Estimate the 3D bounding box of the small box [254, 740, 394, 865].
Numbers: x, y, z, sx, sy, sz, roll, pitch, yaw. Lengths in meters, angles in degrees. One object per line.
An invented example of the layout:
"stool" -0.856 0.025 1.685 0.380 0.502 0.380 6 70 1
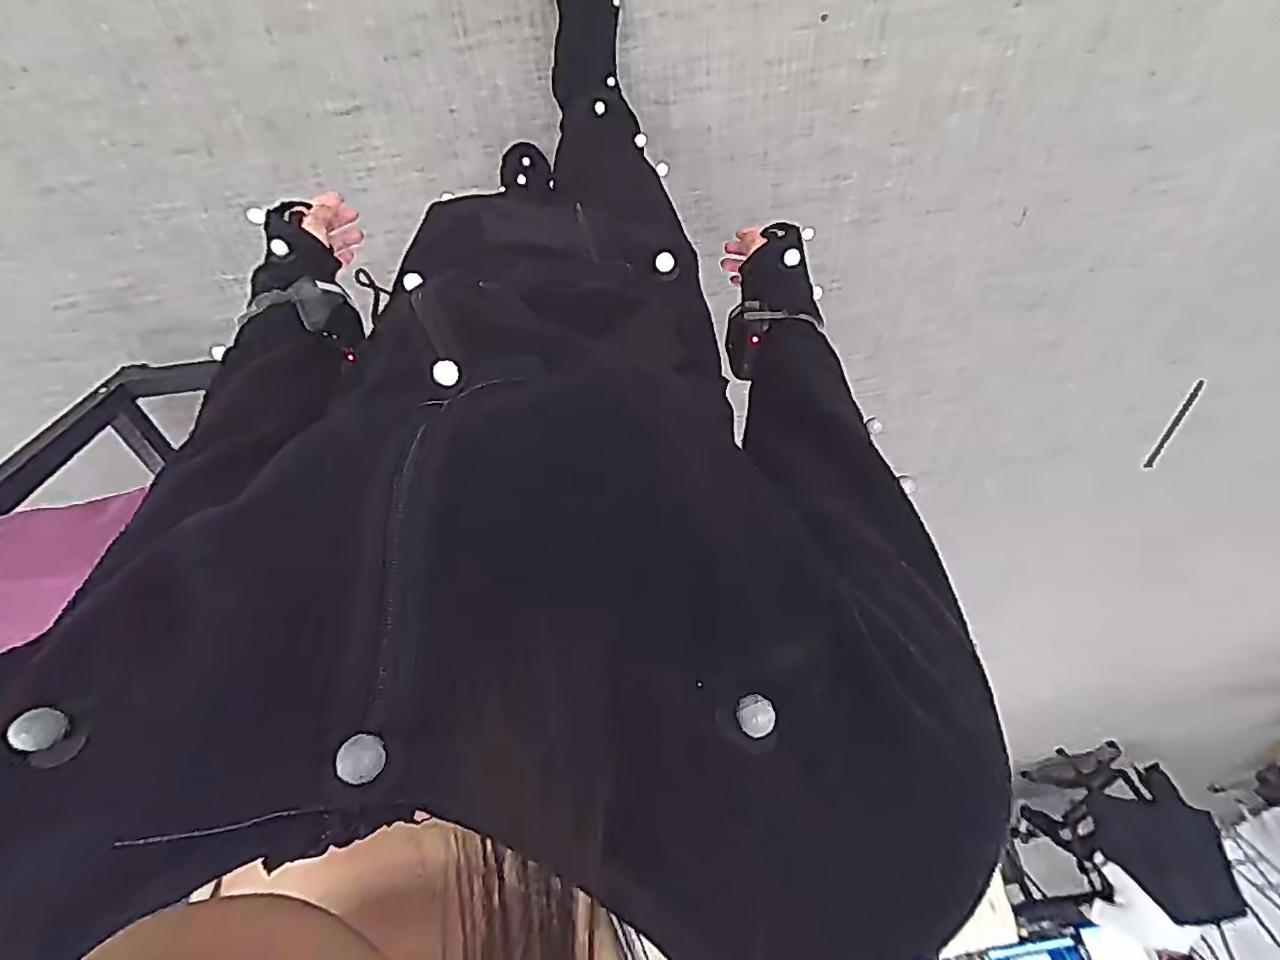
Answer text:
"small box" -0.623 0.642 1.092 0.168 0.176 0.179 -7 131 -3
